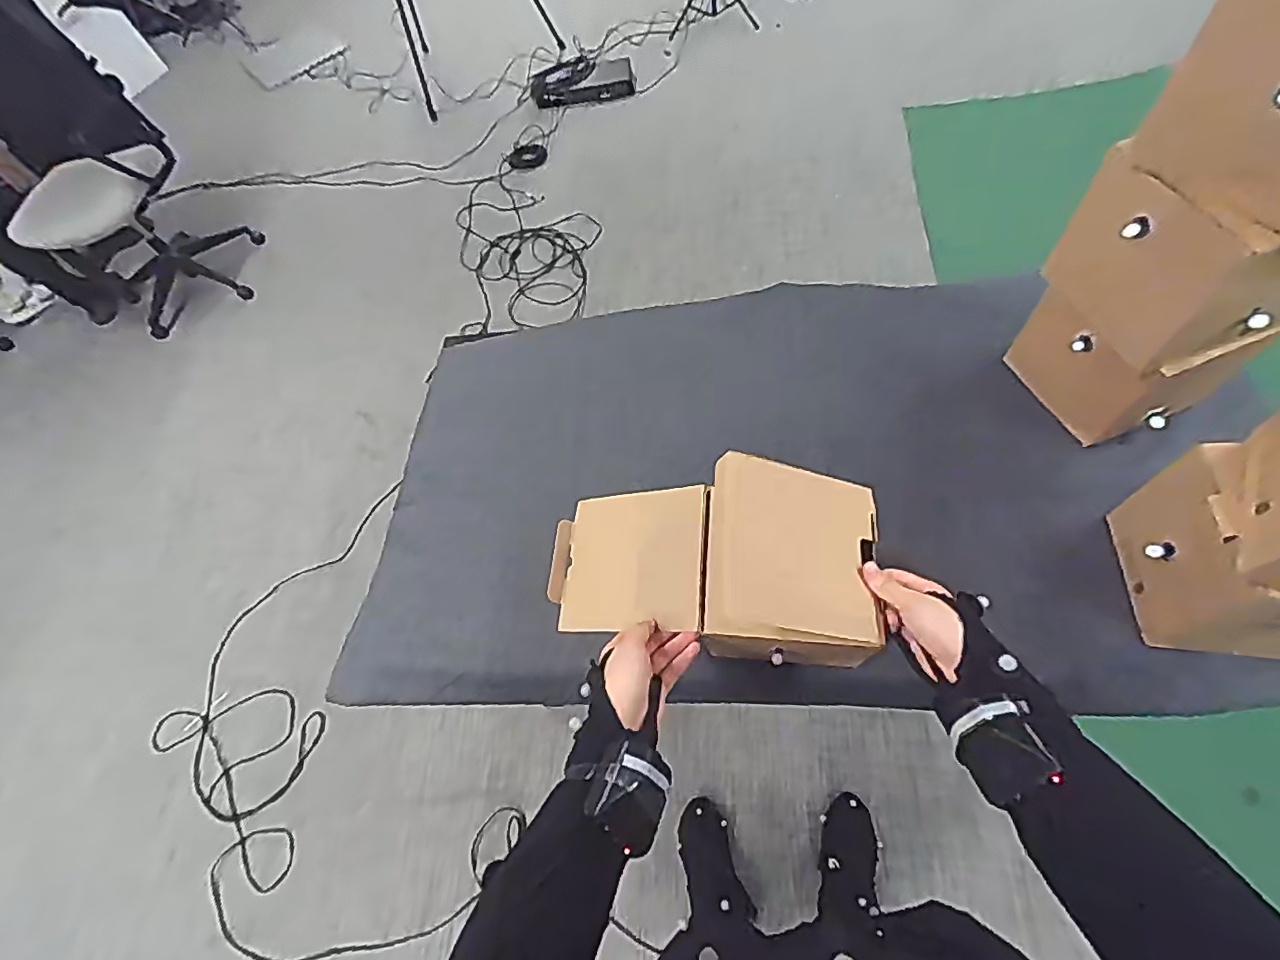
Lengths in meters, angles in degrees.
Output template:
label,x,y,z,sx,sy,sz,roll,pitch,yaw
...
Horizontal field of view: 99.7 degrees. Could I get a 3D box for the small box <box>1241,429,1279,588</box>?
label,x,y,z,sx,sy,sz,roll,pitch,yaw
small box,0.619,0.013,0.402,0.179,0.176,0.168,23,66,22

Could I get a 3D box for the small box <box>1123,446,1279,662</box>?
label,x,y,z,sx,sy,sz,roll,pitch,yaw
small box,0.643,0.081,0.549,0.179,0.176,0.168,3,60,13

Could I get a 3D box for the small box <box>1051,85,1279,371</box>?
label,x,y,z,sx,sy,sz,roll,pitch,yaw
small box,0.576,-0.245,0.550,0.168,0.176,0.179,-20,61,4

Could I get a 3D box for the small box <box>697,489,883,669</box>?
label,x,y,z,sx,sy,sz,roll,pitch,yaw
small box,0.167,0.119,0.622,0.179,0.176,0.168,0,65,15

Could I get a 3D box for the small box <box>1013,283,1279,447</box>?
label,x,y,z,sx,sy,sz,roll,pitch,yaw
small box,0.629,-0.173,0.690,0.168,0.176,0.179,-23,62,2
